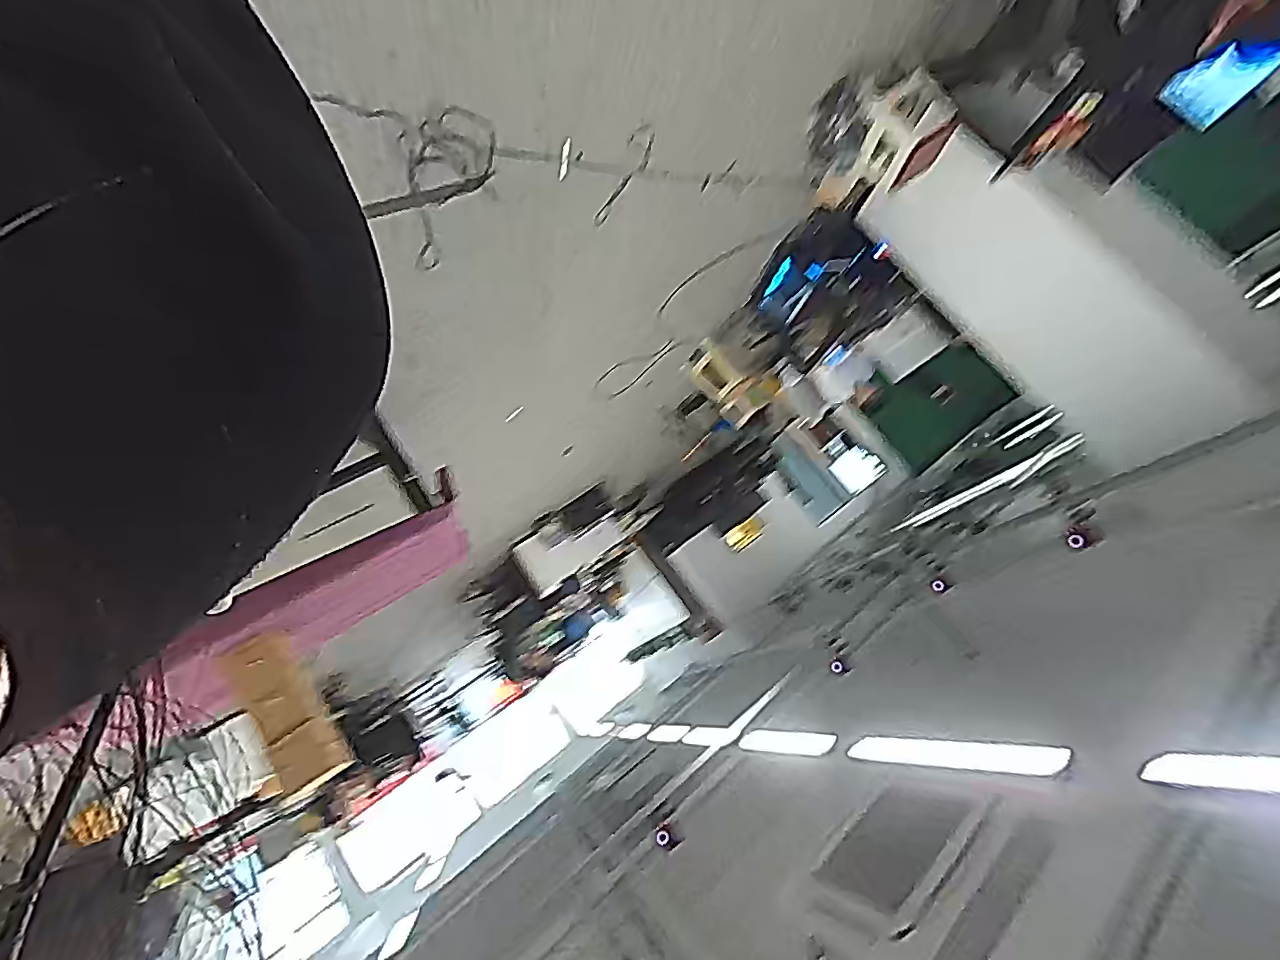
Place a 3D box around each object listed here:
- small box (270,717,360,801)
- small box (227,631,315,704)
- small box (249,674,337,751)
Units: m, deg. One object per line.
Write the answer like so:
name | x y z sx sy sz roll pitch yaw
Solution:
small box | -1.020 0.870 1.701 0.168 0.176 0.179 -32 167 -24
small box | -1.217 0.623 1.785 0.168 0.176 0.179 -31 167 -28
small box | -1.121 0.753 1.754 0.168 0.176 0.179 -32 167 -27
